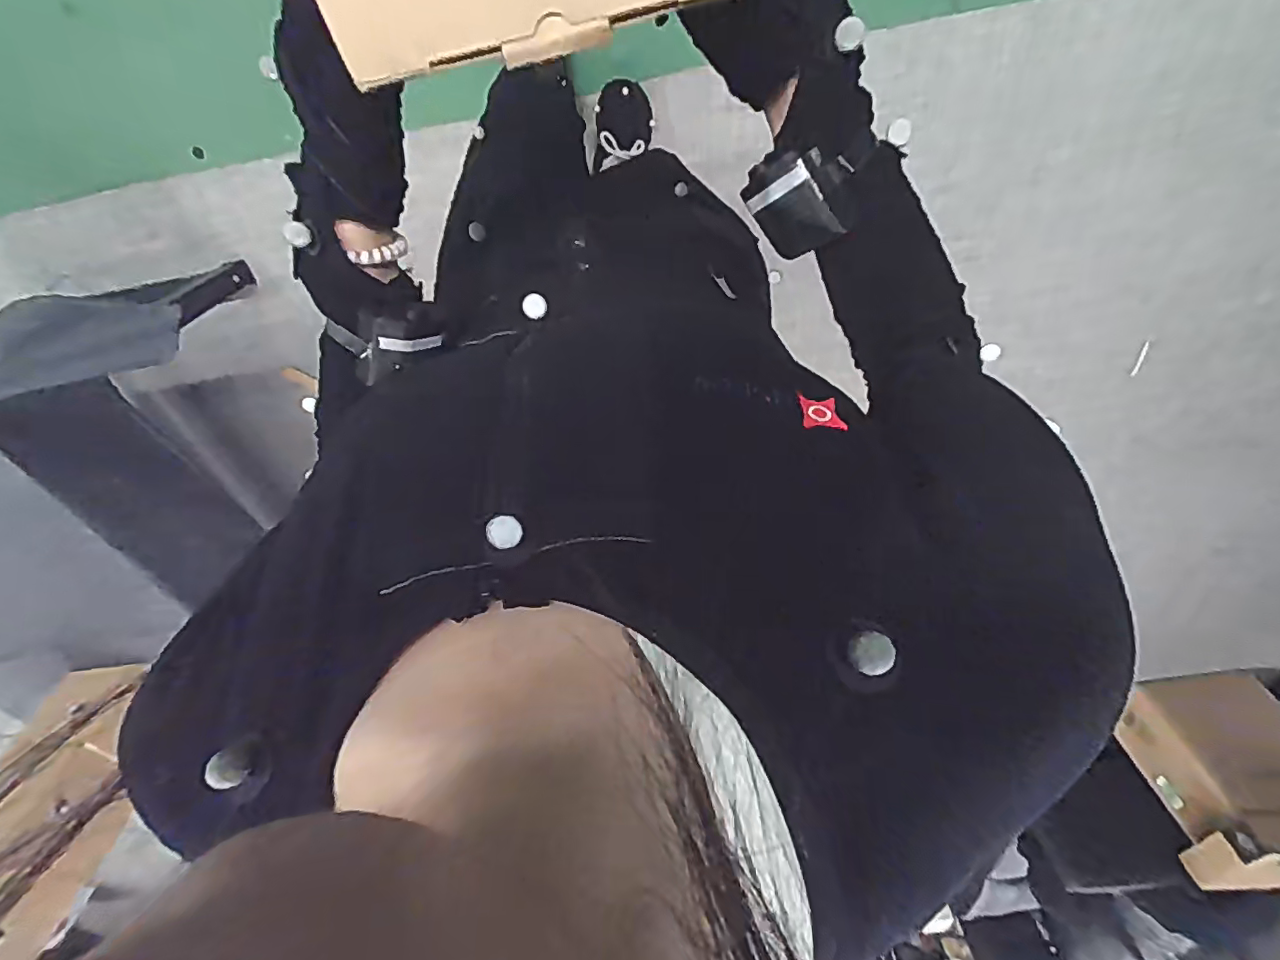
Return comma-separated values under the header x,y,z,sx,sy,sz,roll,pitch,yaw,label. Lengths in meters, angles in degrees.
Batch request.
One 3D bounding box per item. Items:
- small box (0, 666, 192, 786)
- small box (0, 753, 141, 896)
x,y,z,sx,sy,sz,roll,pitch,yaw,label
-1.063,0.493,1.073,0.179,0.176,0.168,-8,128,3,small box
-1.060,0.597,0.948,0.168,0.176,0.179,-9,128,6,small box
